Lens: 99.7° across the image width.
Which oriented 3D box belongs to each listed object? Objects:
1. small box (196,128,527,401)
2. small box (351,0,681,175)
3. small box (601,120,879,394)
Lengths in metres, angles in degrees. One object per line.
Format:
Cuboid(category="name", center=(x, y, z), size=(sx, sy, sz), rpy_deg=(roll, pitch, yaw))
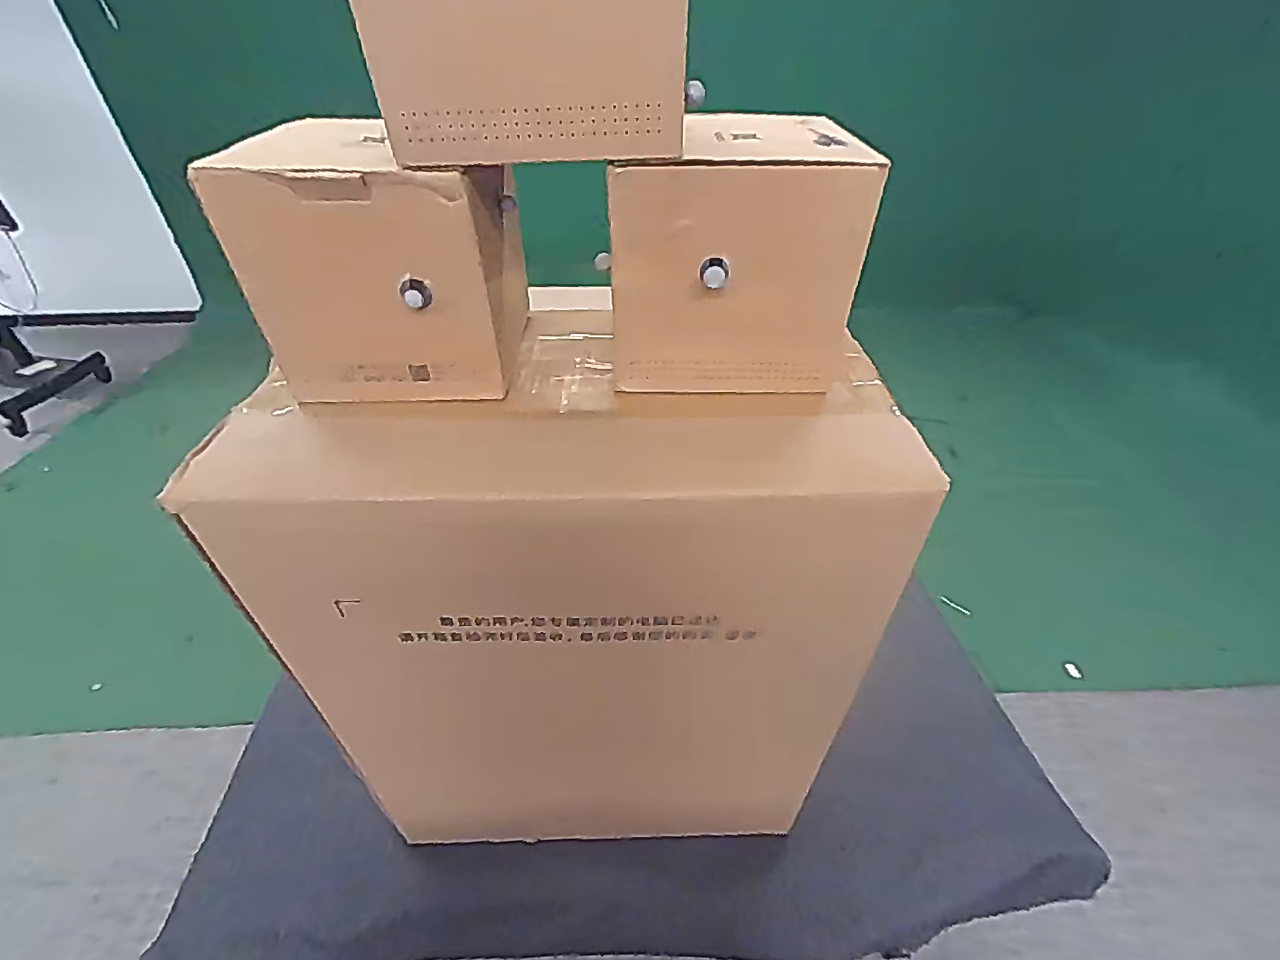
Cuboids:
Cuboid(category="small box", center=(-0.191, -0.176, 0.443), size=(0.168, 0.176, 0.179), rpy_deg=(0, 40, -2))
Cuboid(category="small box", center=(-0.065, -0.302, 0.335), size=(0.179, 0.176, 0.168), rpy_deg=(-3, 42, 0))
Cuboid(category="small box", center=(0.066, -0.182, 0.446), size=(0.179, 0.176, 0.168), rpy_deg=(-1, 42, 1))
